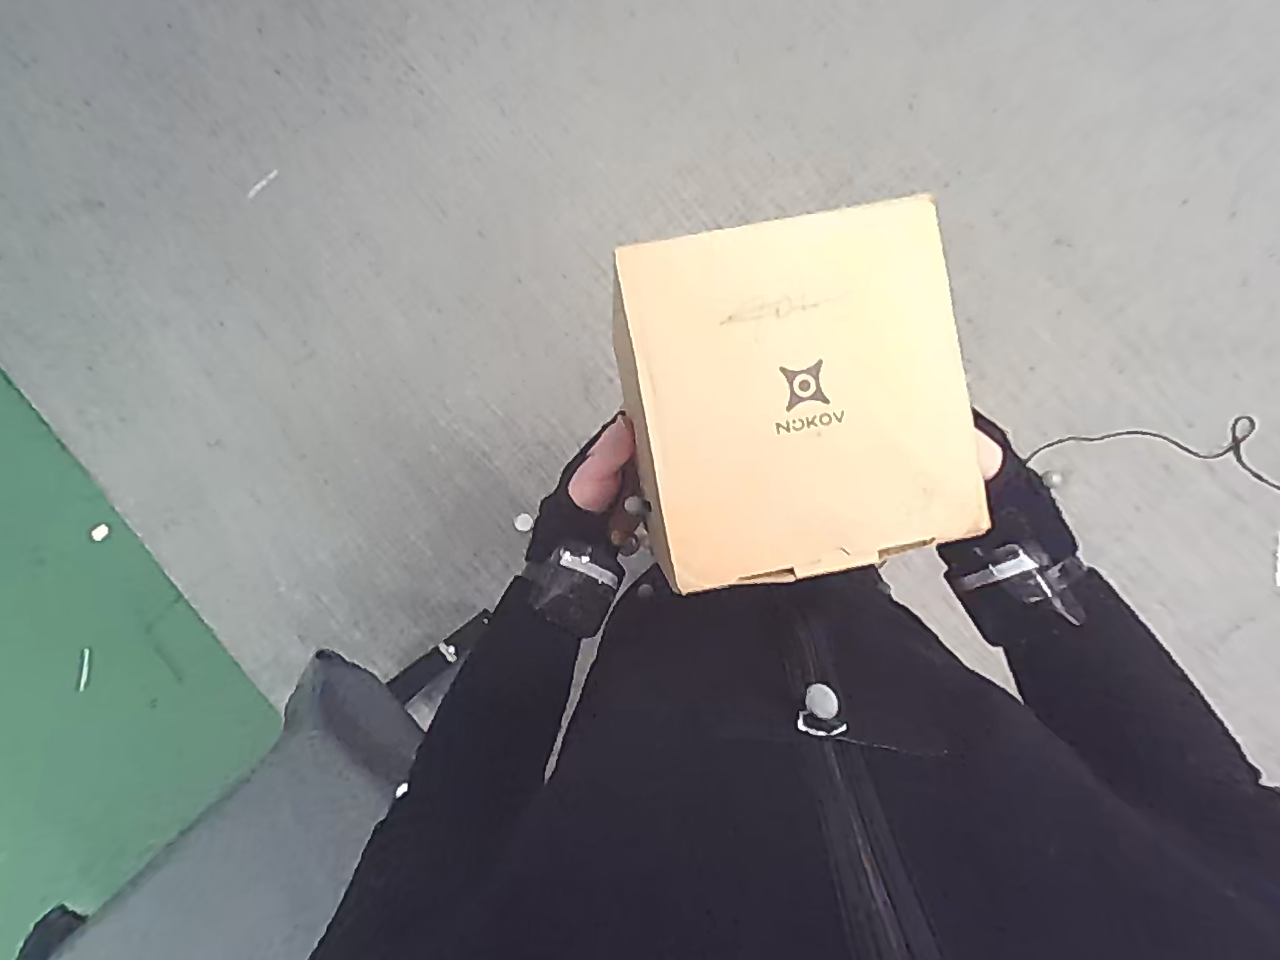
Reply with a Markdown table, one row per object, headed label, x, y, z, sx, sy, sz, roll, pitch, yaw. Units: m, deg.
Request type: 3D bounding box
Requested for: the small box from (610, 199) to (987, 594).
| label | x | y | z | sx | sy | sz | roll | pitch | yaw |
| --- | --- | --- | --- | --- | --- | --- | --- | --- | --- |
| small box | 0.076 | -0.043 | 0.348 | 0.168 | 0.176 | 0.179 | -11 | 90 | -4 |
